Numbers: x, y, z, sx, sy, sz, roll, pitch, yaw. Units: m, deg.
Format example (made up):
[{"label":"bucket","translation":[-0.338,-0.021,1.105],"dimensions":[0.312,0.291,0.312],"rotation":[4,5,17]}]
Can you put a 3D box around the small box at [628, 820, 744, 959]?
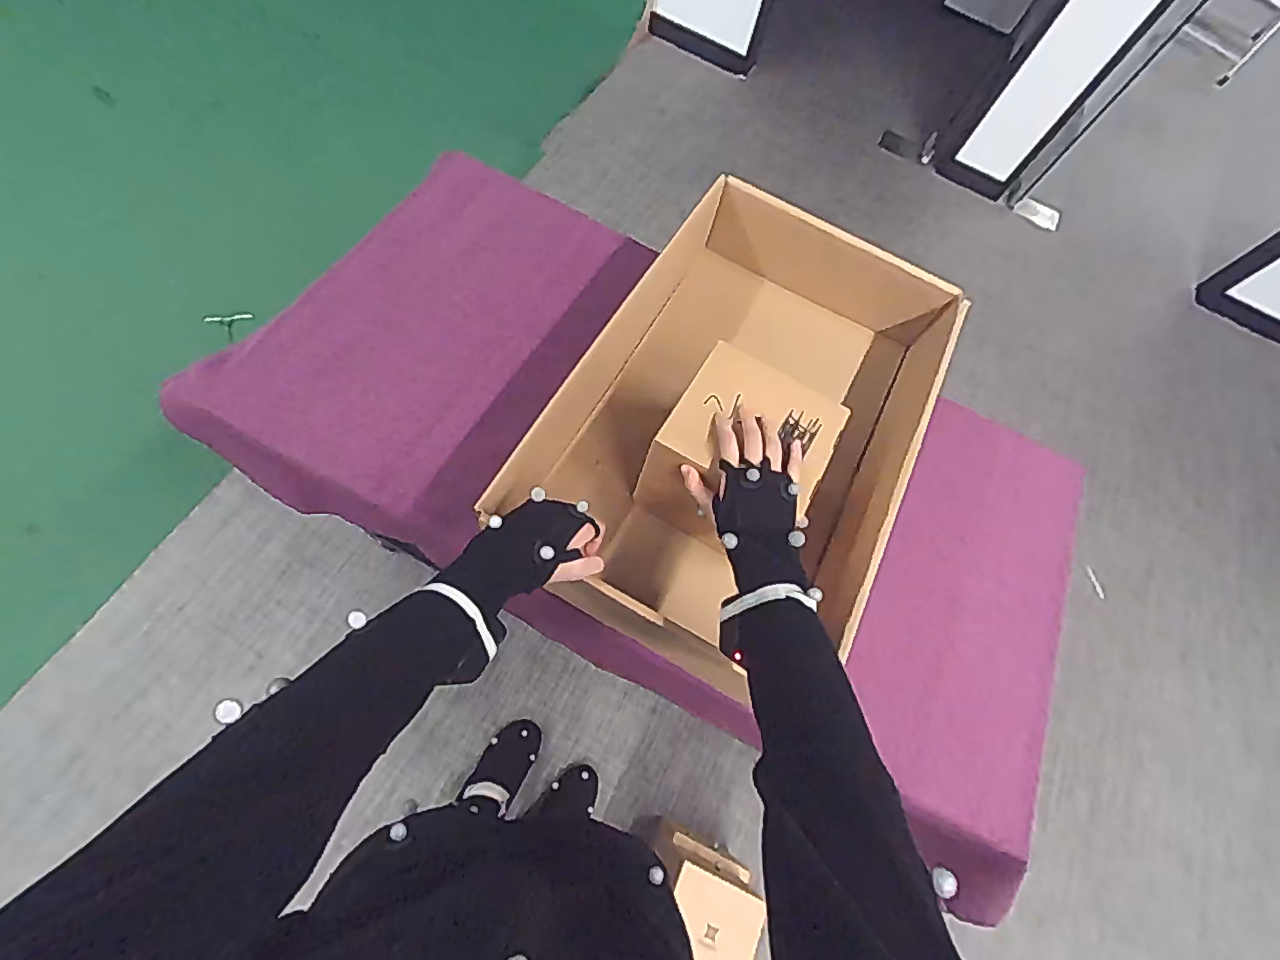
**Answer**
[{"label":"small box","translation":[0.091,0.857,1.150],"dimensions":[0.179,0.176,0.168],"rotation":[28,66,4]}]
